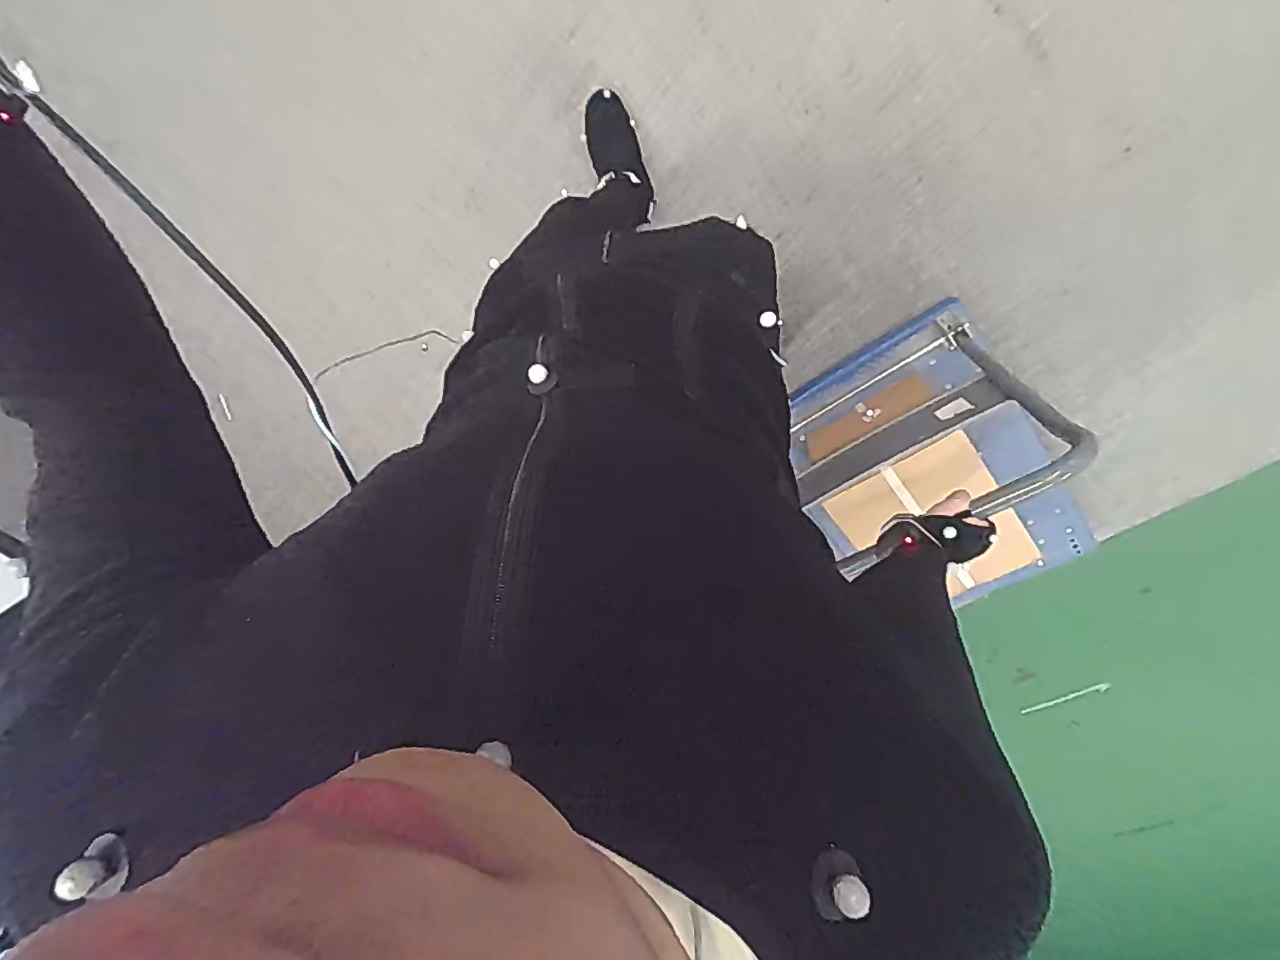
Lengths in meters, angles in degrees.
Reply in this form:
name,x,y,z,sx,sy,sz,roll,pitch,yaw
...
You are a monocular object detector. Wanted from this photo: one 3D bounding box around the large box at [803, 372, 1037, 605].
name,x,y,z,sx,sy,sz,roll,pitch,yaw
large box,0.652,0.019,1.315,0.320,0.320,0.408,-33,112,27
